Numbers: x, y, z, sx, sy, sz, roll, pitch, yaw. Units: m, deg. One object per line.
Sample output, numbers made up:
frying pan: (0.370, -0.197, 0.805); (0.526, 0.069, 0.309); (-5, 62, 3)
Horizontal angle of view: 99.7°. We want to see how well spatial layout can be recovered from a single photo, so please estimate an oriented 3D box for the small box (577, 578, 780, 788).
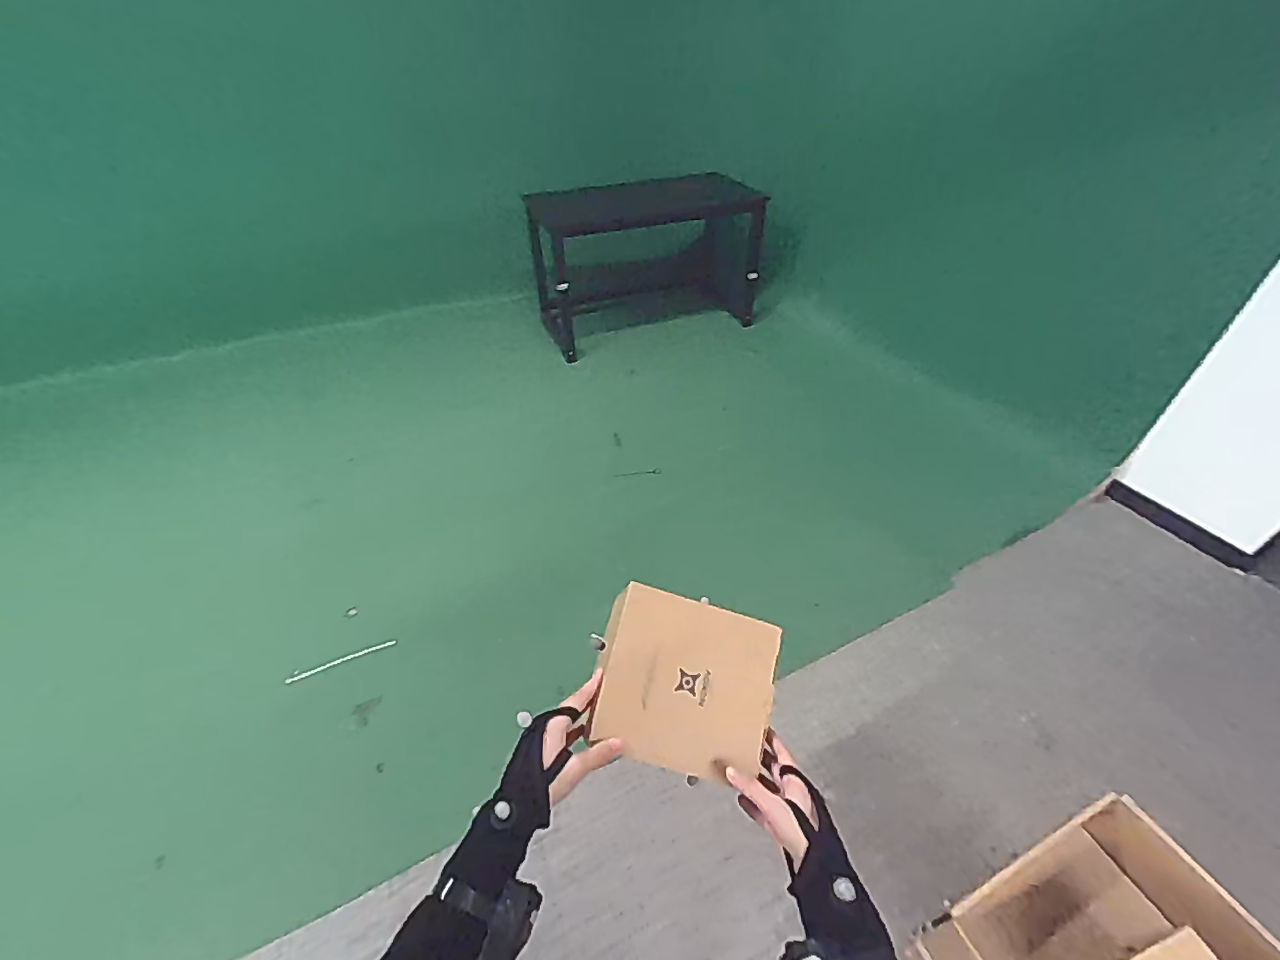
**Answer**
small box: (0.035, 0.227, 0.623); (0.179, 0.176, 0.168); (18, 68, -3)
